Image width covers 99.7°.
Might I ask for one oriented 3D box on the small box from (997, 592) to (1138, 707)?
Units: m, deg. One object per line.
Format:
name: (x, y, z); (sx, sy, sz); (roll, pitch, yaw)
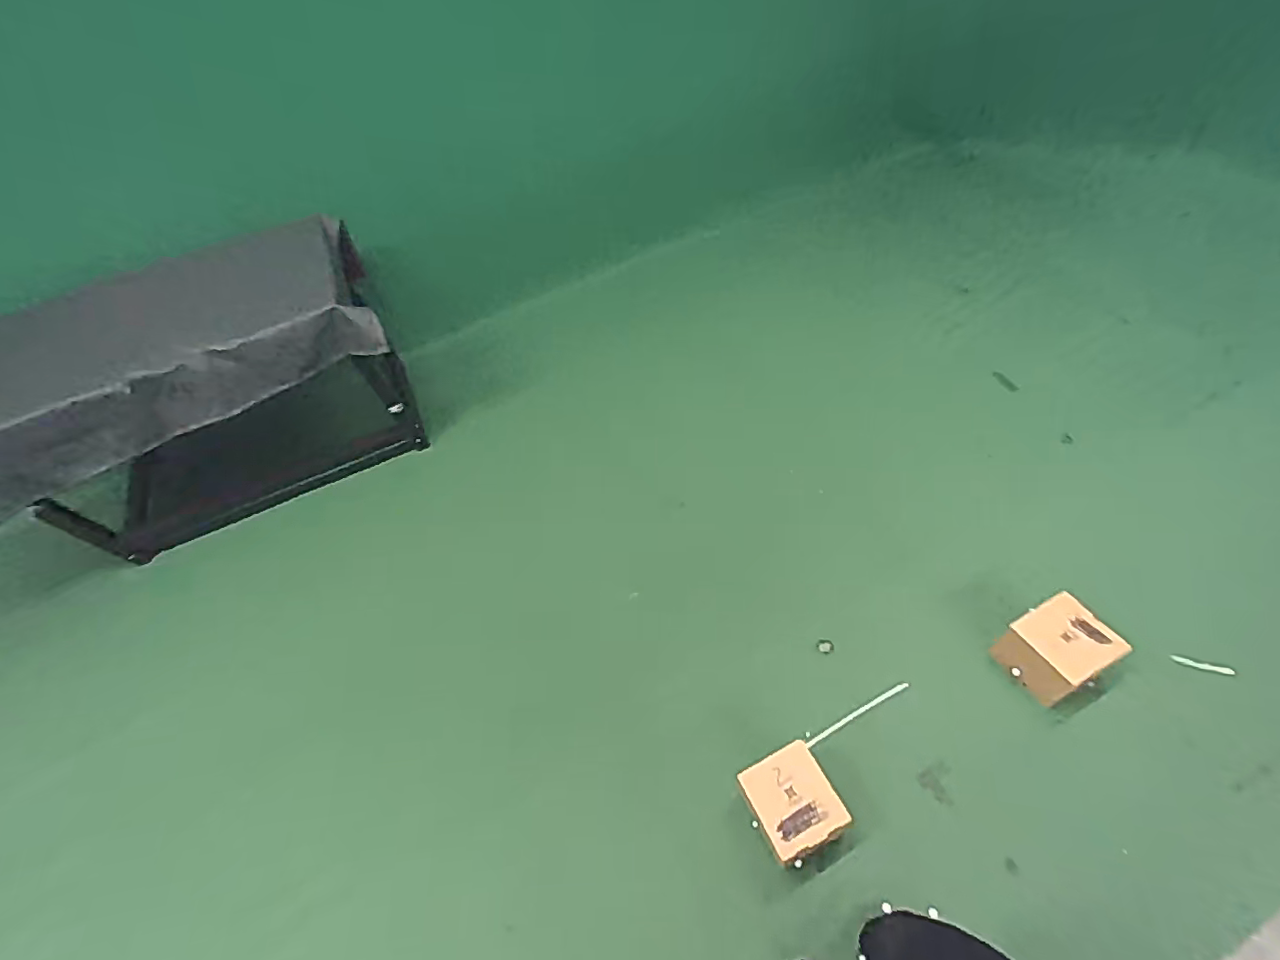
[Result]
small box: (0.995, 0.403, 1.279); (0.179, 0.176, 0.168); (-26, 50, -8)
